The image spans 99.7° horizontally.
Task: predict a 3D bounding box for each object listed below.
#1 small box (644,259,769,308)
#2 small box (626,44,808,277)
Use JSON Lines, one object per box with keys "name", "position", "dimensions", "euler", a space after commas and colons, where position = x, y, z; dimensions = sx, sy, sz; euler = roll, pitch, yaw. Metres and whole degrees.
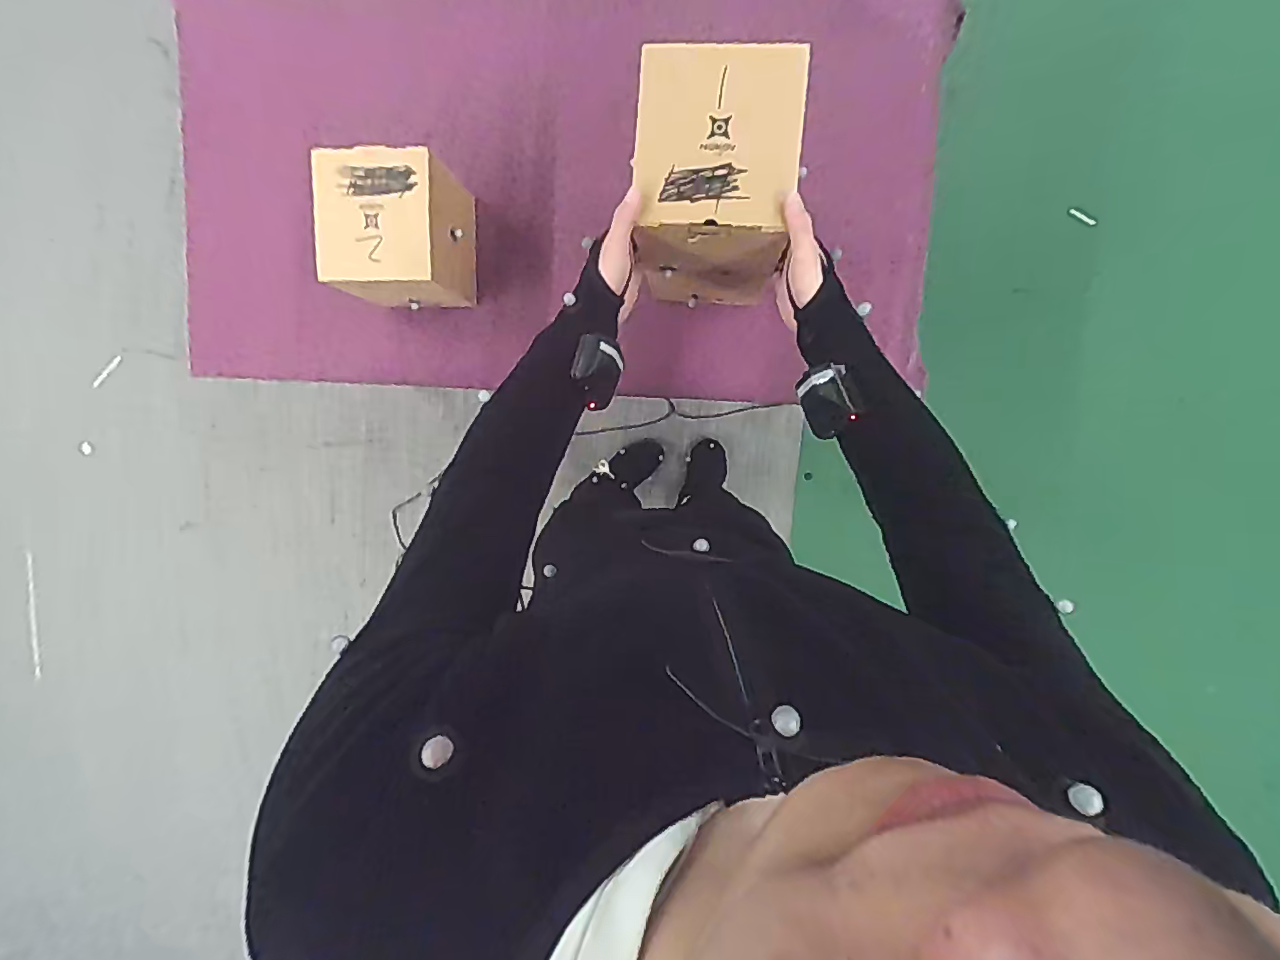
{"name": "small box", "position": [0.100, -0.359, 0.771], "dimensions": [0.168, 0.176, 0.179], "euler": [5, 96, 6]}
{"name": "small box", "position": [0.083, -0.341, 0.610], "dimensions": [0.168, 0.176, 0.179], "euler": [5, 94, 6]}
